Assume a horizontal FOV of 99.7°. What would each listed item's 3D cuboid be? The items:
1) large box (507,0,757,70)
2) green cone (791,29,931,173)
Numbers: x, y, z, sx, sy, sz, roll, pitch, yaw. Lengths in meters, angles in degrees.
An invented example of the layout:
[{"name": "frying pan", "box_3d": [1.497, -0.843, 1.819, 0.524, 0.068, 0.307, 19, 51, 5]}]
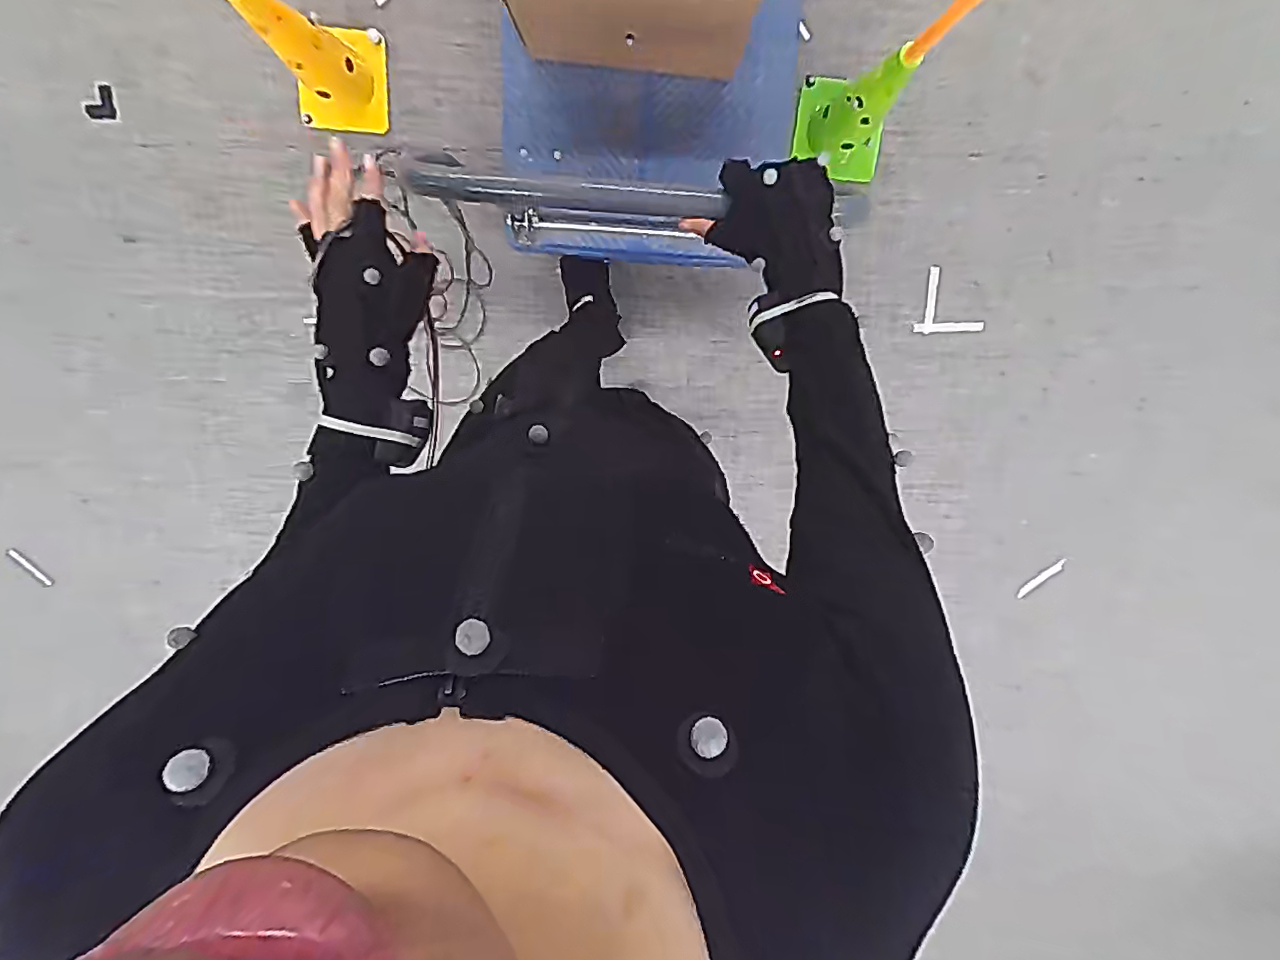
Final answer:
[{"name": "large box", "box_3d": [-0.006, -0.921, 0.883, 0.408, 0.320, 0.320, 5, 107, -1]}, {"name": "green cone", "box_3d": [0.457, -0.775, 1.073, 0.202, 0.368, 0.200, 5, 106, -3]}]
